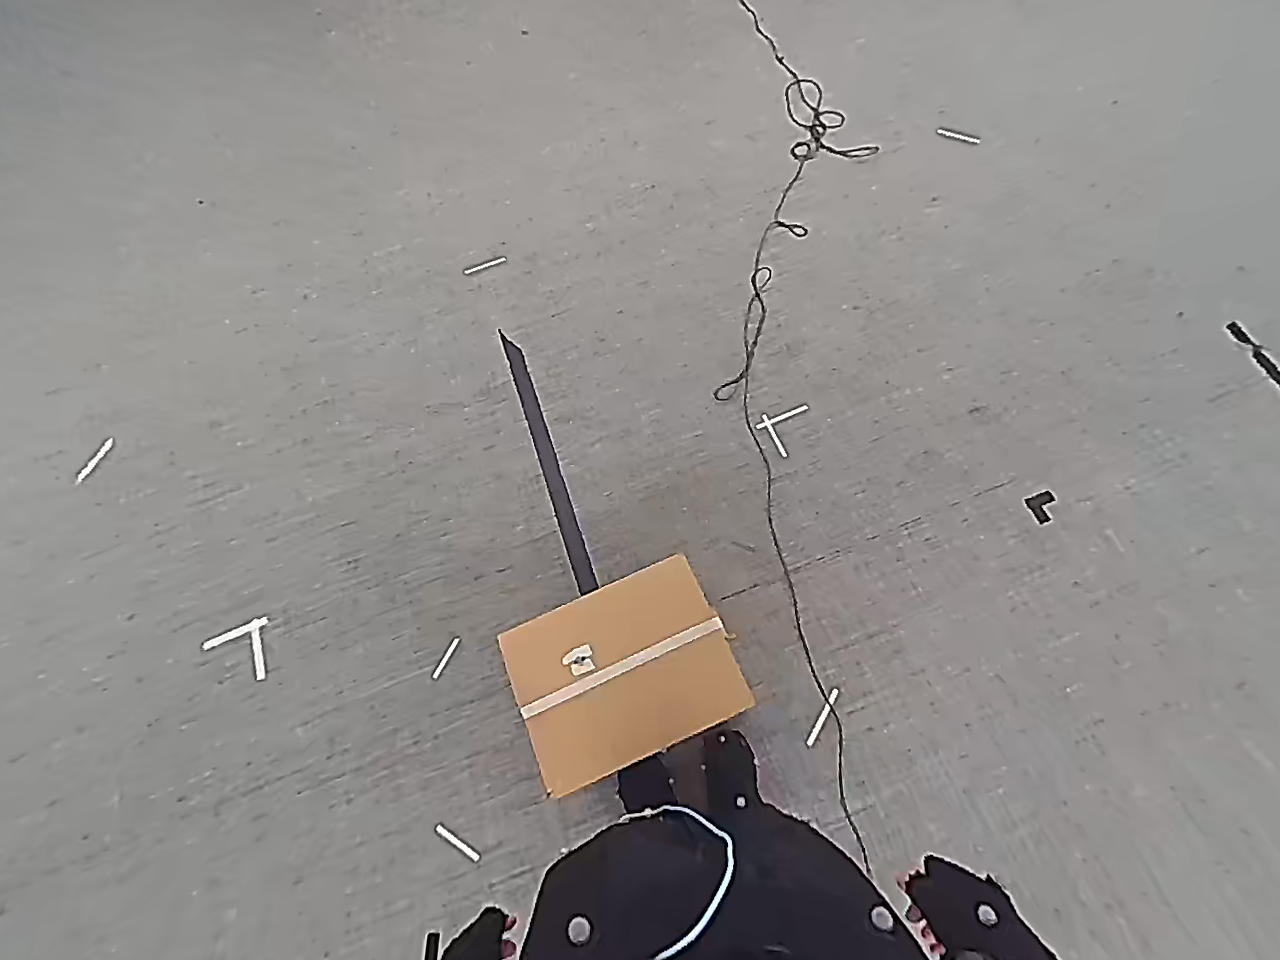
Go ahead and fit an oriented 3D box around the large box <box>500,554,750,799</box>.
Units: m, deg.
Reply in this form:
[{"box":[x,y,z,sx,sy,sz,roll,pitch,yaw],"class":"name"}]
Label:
[{"box":[-0.020,0.404,1.154,0.408,0.320,0.320,-24,68,-2],"class":"large box"}]
